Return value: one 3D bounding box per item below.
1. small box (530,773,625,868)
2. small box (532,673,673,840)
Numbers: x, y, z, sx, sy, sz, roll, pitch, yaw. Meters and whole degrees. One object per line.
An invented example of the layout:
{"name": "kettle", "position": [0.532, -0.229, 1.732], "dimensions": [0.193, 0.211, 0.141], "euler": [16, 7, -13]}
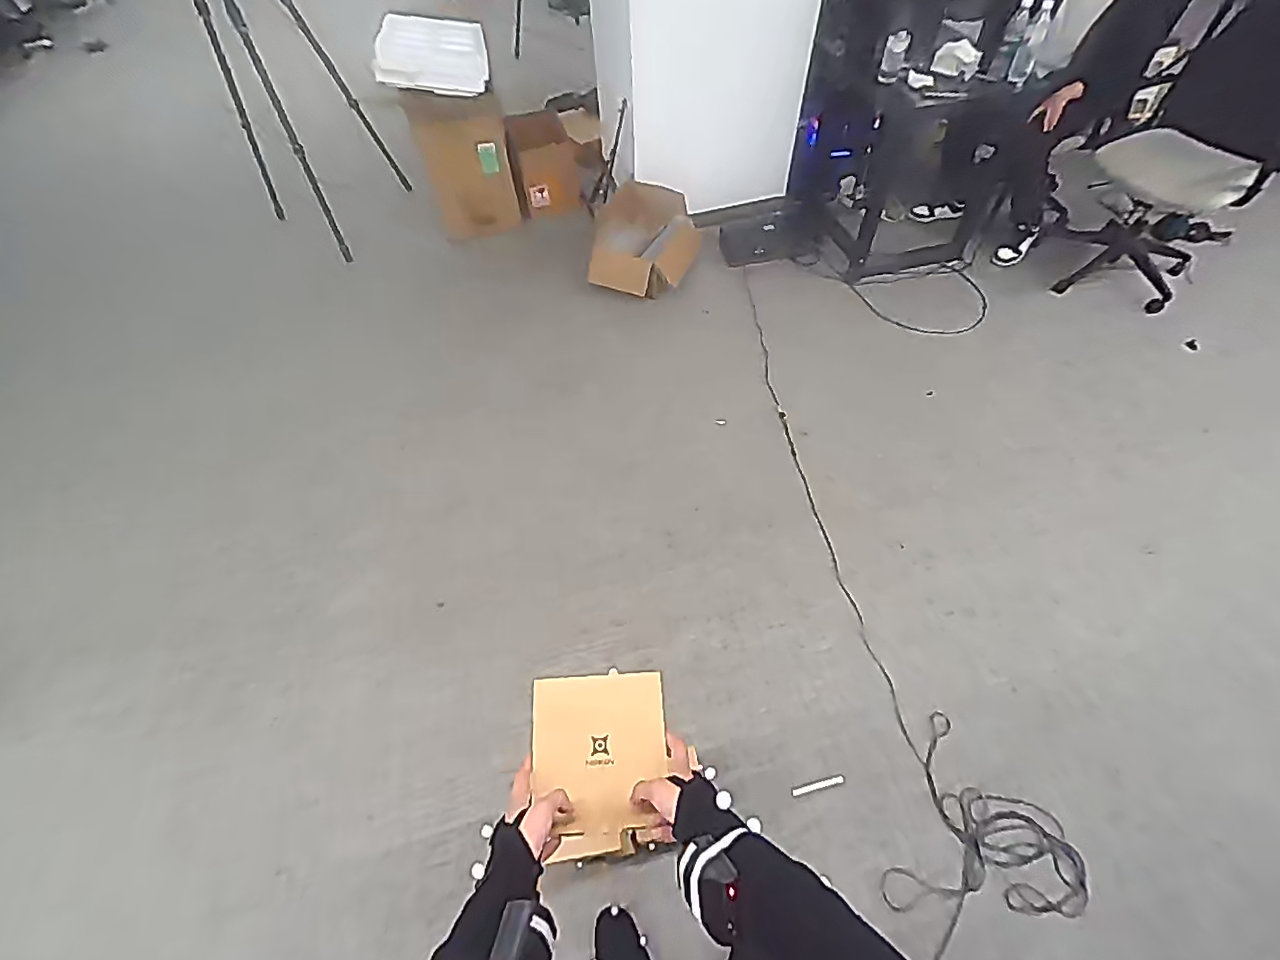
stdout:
{"name": "small box", "position": [-0.128, 0.710, 1.150], "dimensions": [0.179, 0.176, 0.168], "euler": [-10, 54, -2]}
{"name": "small box", "position": [-0.053, 0.365, 0.729], "dimensions": [0.168, 0.176, 0.179], "euler": [-2, 65, -5]}
